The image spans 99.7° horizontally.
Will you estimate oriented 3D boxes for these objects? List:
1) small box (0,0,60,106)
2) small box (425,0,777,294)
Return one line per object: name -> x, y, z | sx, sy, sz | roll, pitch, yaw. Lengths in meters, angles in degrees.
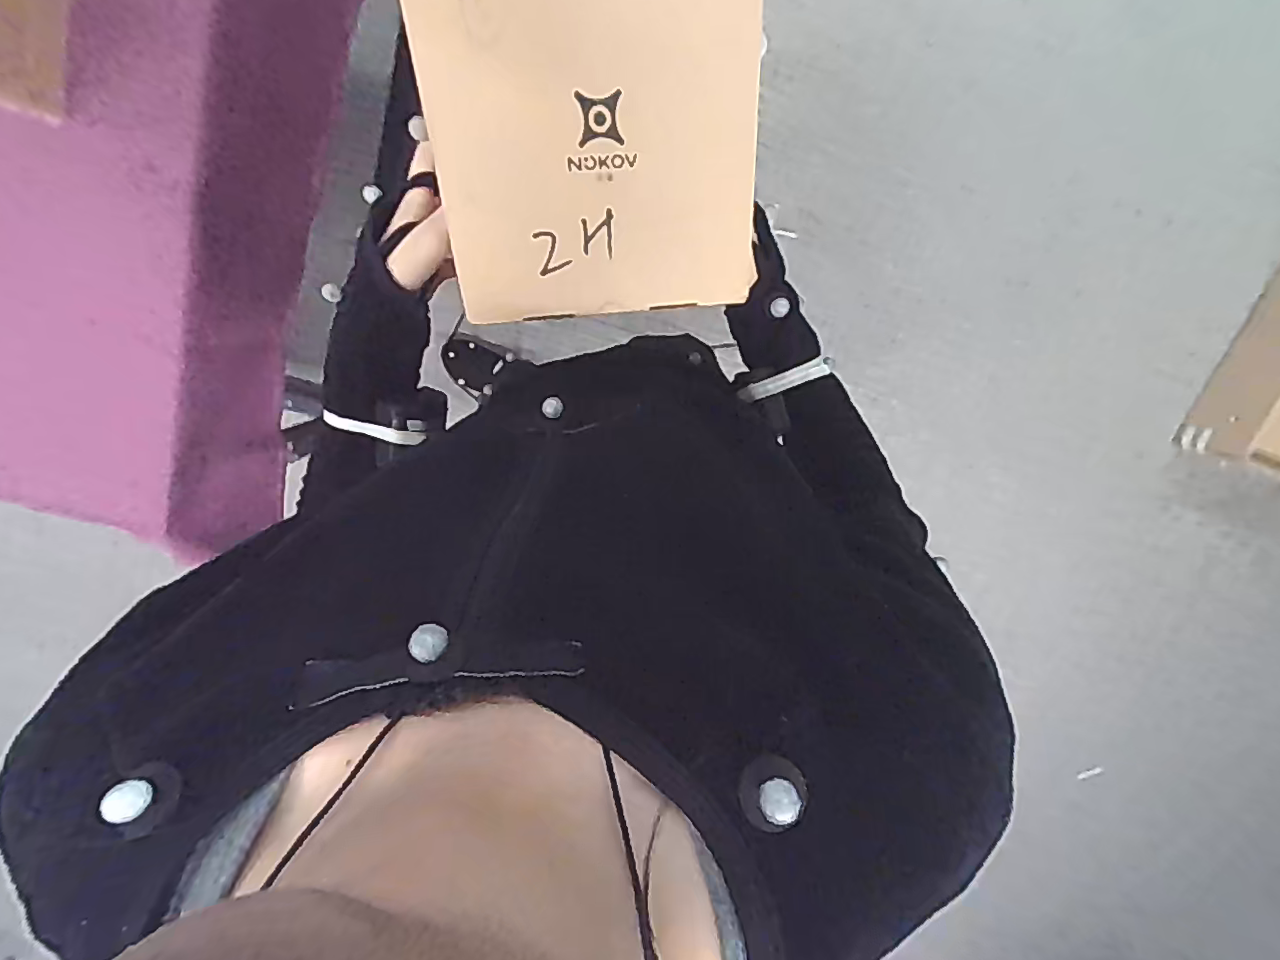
small box -> -0.705, -0.493, 0.502 | 0.168, 0.176, 0.179 | 17, 104, -7
small box -> -0.027, -0.223, 0.337 | 0.168, 0.176, 0.179 | -5, 120, -6
